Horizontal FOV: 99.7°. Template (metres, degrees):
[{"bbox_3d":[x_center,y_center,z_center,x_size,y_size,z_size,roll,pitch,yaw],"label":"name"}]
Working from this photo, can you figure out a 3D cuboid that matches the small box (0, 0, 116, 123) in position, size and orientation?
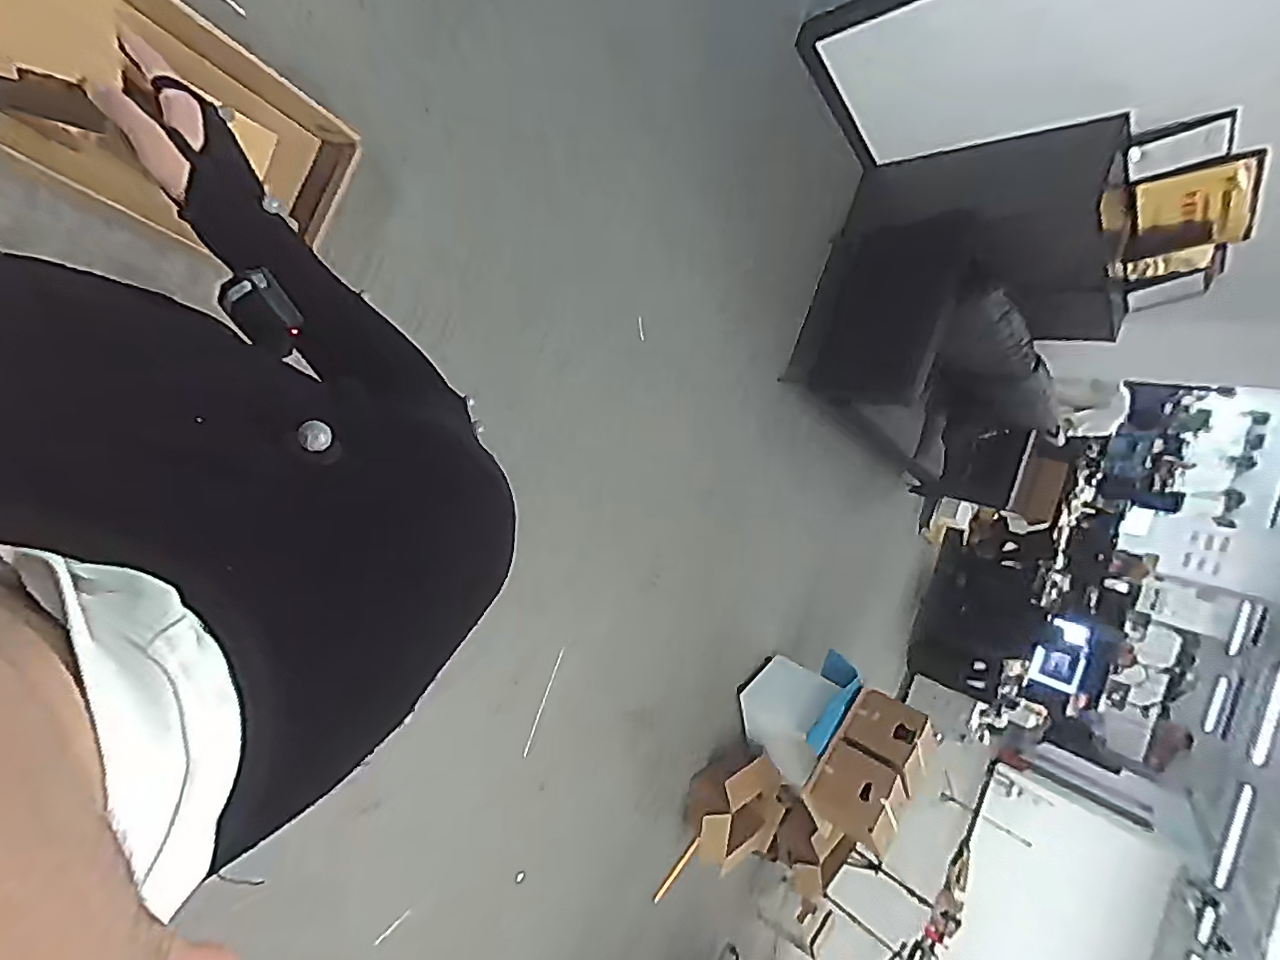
[{"bbox_3d":[-0.535,-0.408,0.420,0.168,0.176,0.179,-9,112,-46],"label":"small box"}]
